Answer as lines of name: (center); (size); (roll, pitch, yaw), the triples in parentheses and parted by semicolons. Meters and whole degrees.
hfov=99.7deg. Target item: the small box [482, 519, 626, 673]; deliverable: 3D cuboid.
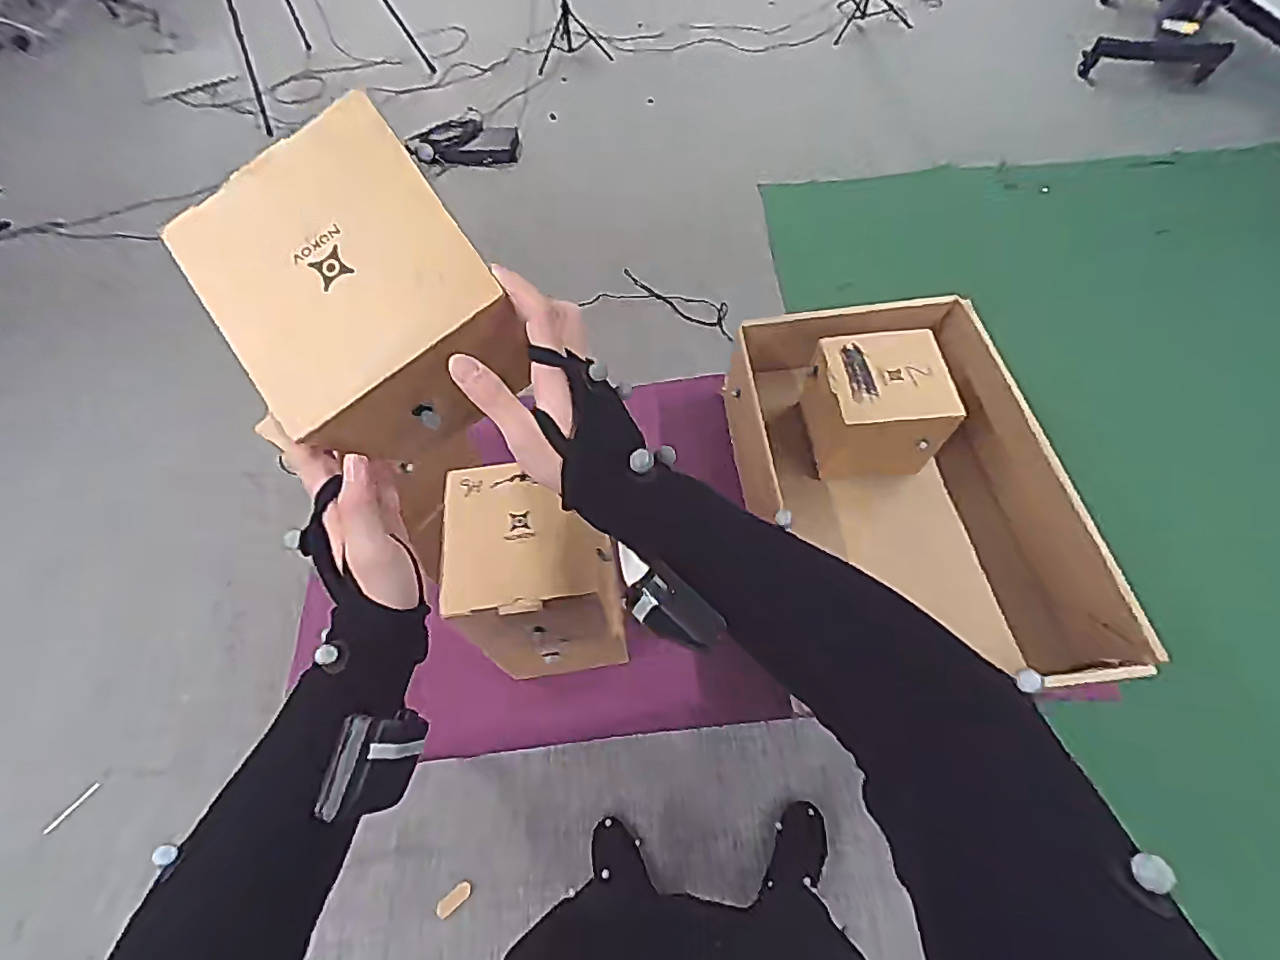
small box: (-0.121, 0.176, 0.795); (0.179, 0.176, 0.168); (-8, 60, -3)

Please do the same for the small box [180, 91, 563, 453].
small box: (-0.182, -0.134, 0.424); (0.168, 0.176, 0.179); (-35, 85, 1)

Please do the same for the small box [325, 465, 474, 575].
small box: (-0.358, 0.034, 0.884); (0.179, 0.176, 0.168); (32, 66, 18)

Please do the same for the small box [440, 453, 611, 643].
small box: (-0.129, 0.091, 0.656); (0.168, 0.176, 0.179); (-7, 61, -2)

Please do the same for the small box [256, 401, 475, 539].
small box: (-0.358, -0.048, 0.743); (0.168, 0.176, 0.179); (33, 67, 17)
